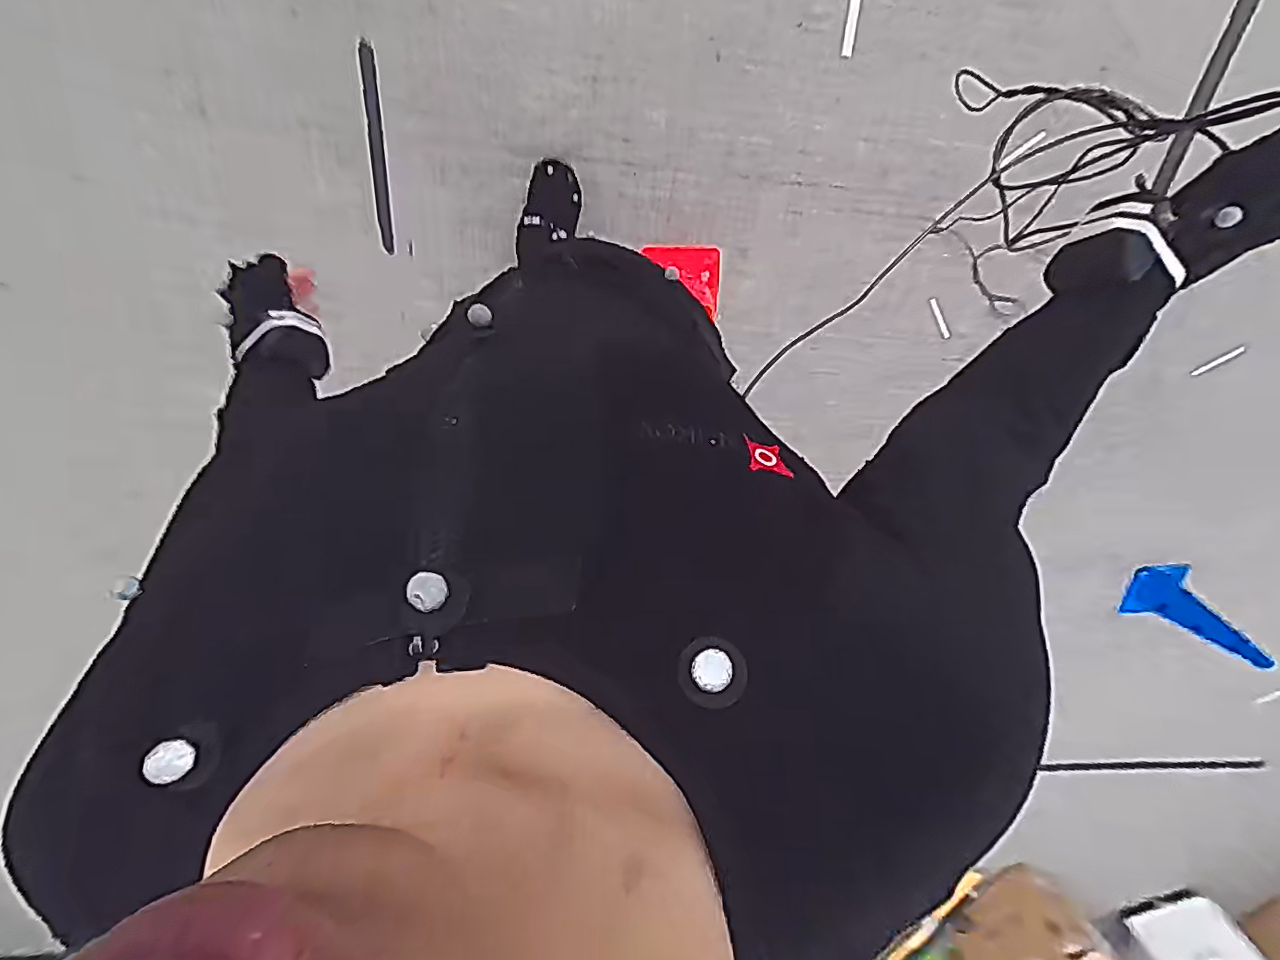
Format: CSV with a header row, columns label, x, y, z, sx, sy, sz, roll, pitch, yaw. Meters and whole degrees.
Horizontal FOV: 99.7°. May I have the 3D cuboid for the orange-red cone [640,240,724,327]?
label,x,y,z,sx,sy,sz,roll,pitch,yaw
orange-red cone,0.111,-0.395,1.163,0.198,0.360,0.199,0,117,-4

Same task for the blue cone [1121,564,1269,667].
label,x,y,z,sx,sy,sz,roll,pitch,yaw
blue cone,1.791,0.442,1.720,0.192,0.380,0.193,-1,116,-4
